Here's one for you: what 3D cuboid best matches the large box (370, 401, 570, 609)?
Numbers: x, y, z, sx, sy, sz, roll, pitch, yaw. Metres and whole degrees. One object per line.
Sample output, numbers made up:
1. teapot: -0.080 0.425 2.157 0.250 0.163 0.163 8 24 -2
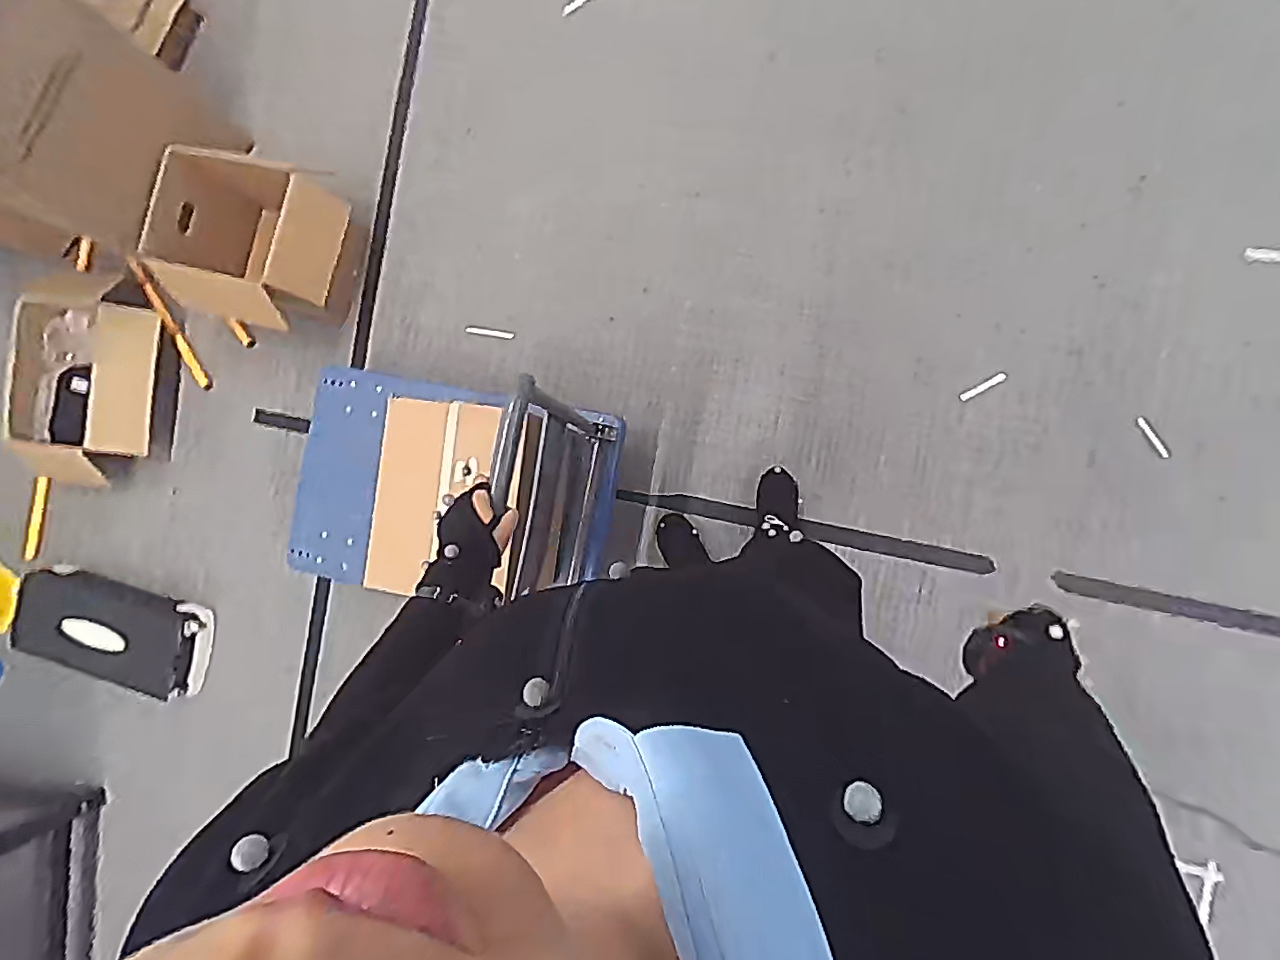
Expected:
1. large box: -0.369 0.055 1.250 0.320 0.320 0.408 7 88 9
